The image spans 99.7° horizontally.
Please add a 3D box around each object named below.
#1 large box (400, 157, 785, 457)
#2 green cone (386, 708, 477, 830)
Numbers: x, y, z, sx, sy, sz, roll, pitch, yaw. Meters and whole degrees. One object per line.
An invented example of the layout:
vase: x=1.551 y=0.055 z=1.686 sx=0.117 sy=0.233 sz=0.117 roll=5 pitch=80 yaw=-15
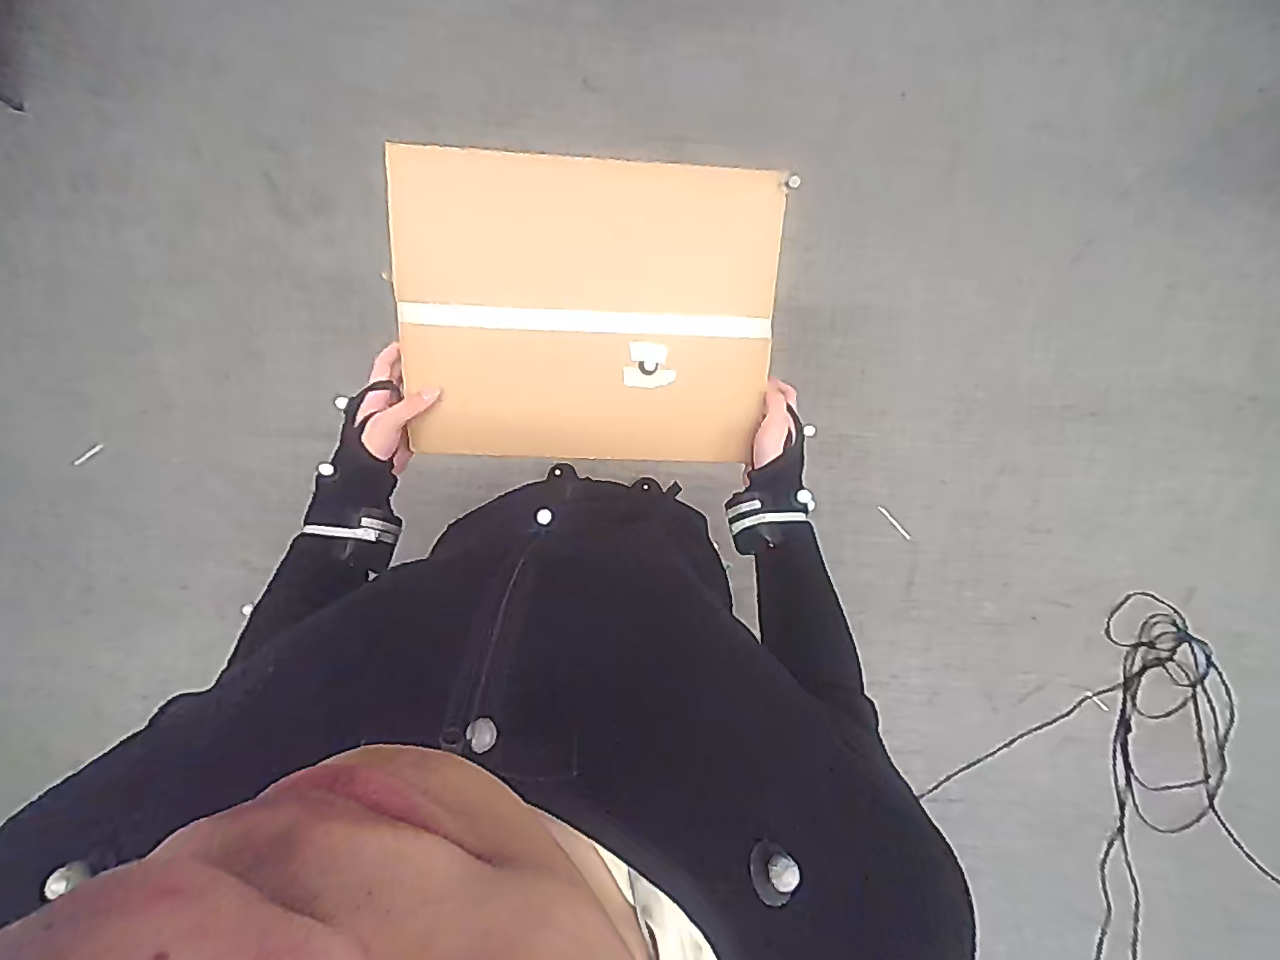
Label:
large box: x=-0.060 y=-0.218 z=0.739 sx=0.408 sy=0.320 sz=0.320 roll=0 pitch=107 yaw=-5
green cone: x=-0.597 y=0.802 z=1.466 sx=0.200 sy=0.368 sz=0.202 roll=9 pitch=93 yaw=-3
